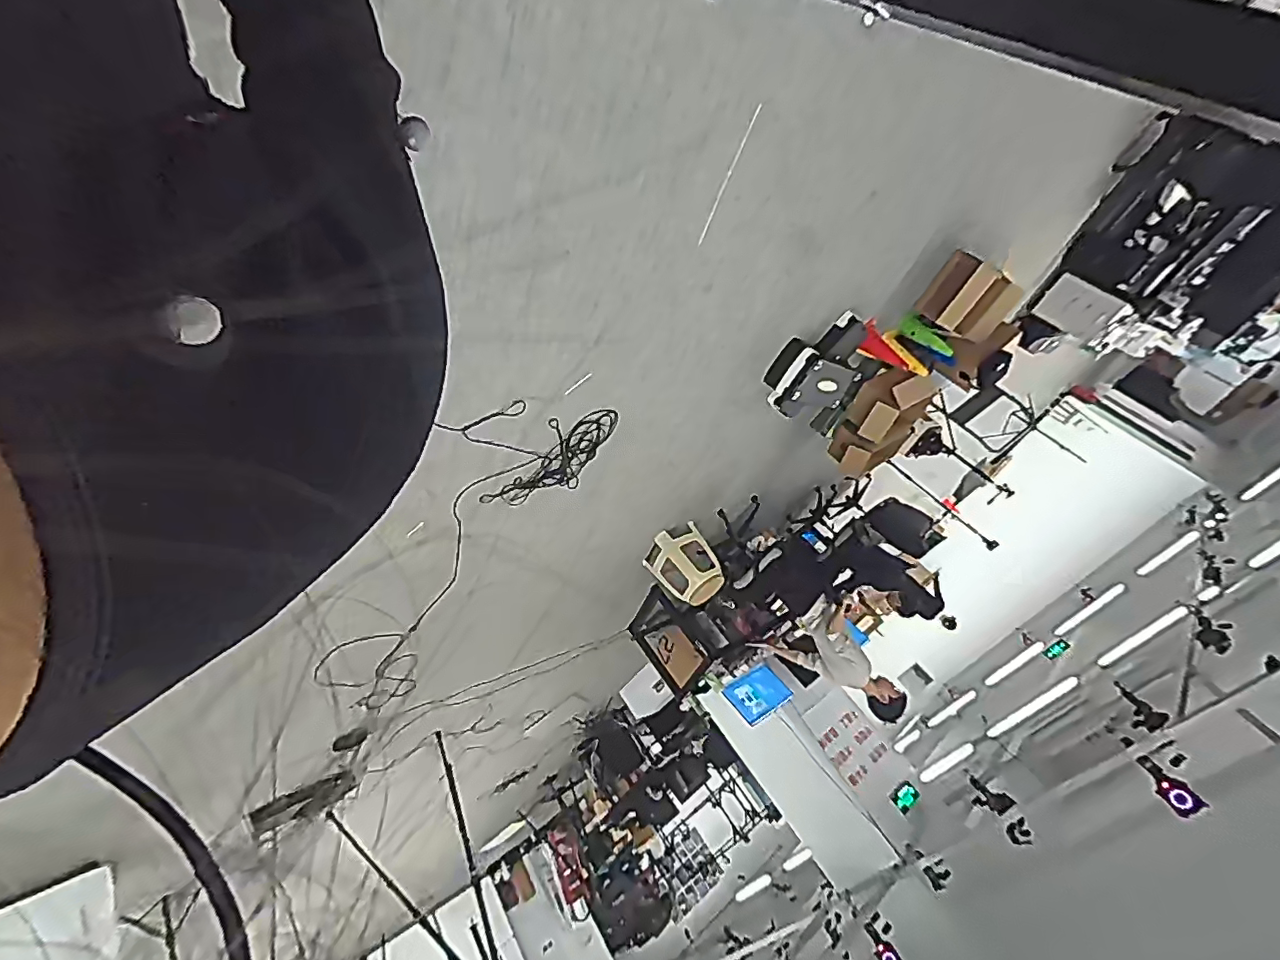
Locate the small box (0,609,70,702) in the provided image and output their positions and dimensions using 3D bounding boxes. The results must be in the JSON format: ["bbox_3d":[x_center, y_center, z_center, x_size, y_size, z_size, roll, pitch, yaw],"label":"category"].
[{"bbox_3d":[-1.734,0.481,1.502,0.168,0.176,0.179,-16,144,-36],"label":"small box"}]
